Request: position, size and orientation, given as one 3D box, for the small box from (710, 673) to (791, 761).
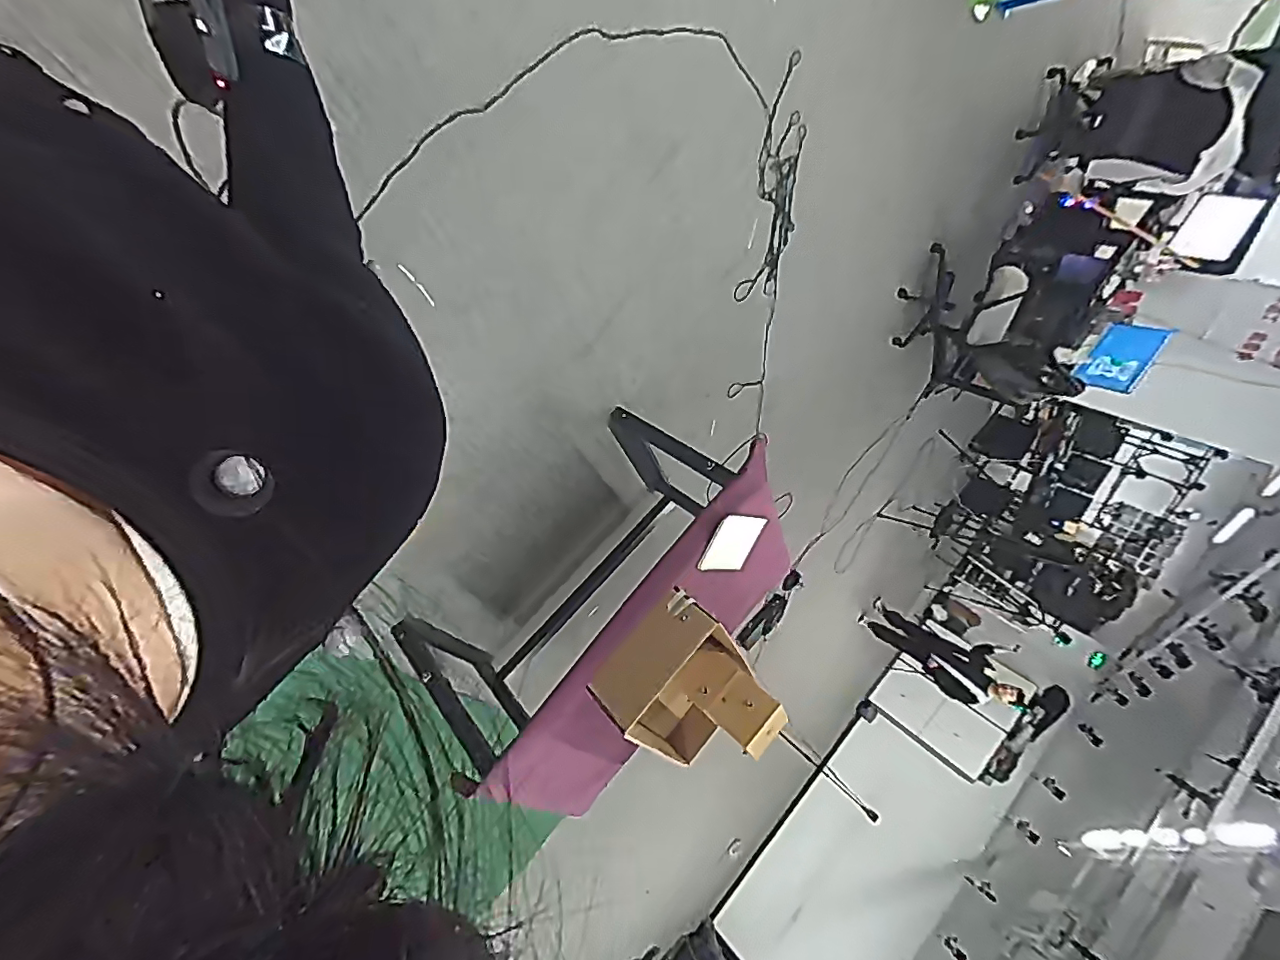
[{"bbox_3d":[0.342,0.734,1.684,0.168,0.176,0.179,-46,140,-14],"label":"small box"}]
